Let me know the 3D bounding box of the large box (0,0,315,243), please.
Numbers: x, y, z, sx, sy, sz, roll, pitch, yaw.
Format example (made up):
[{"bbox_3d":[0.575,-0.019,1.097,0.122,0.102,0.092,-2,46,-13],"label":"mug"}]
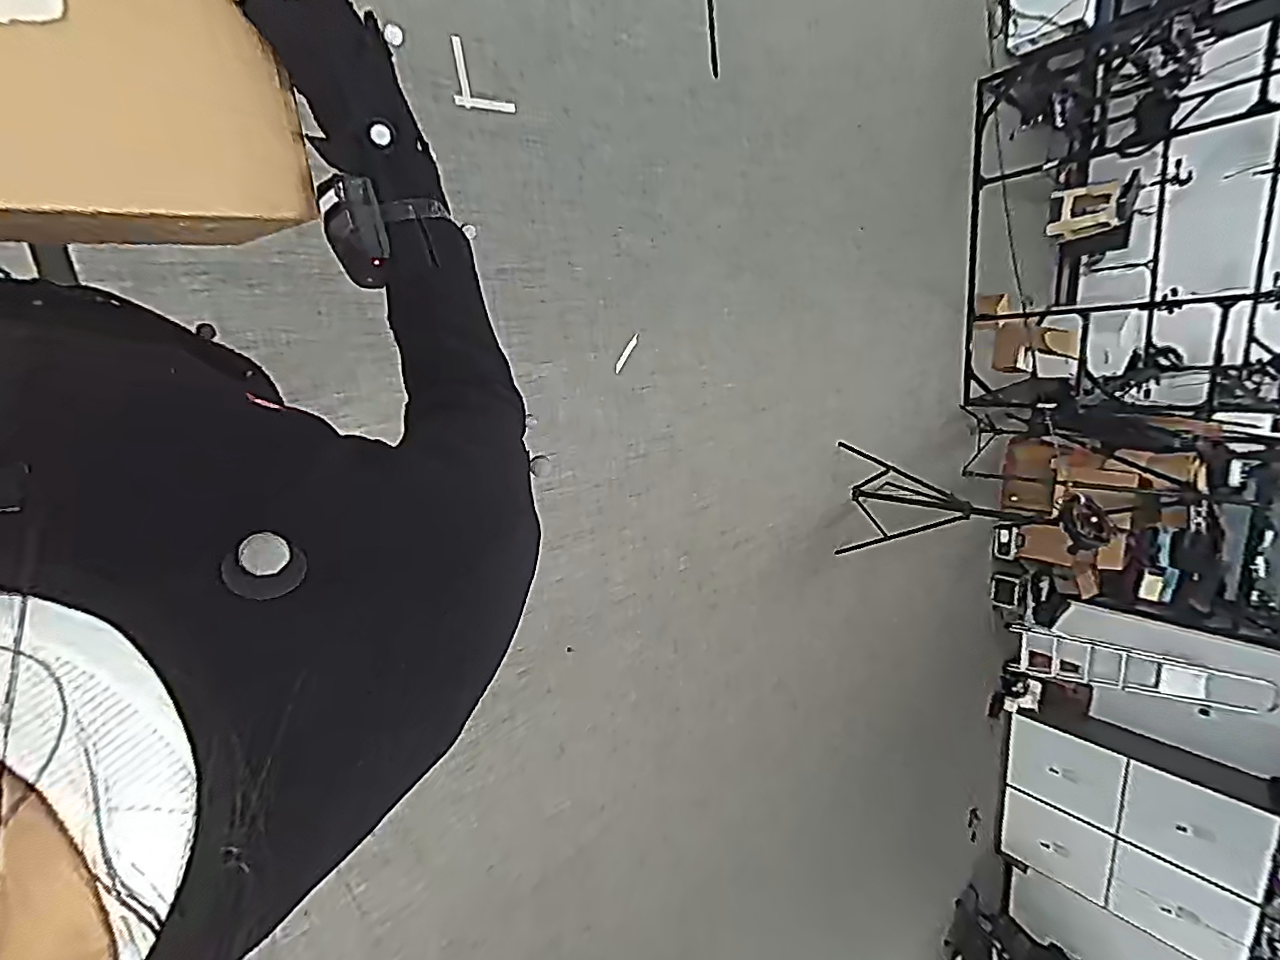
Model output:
[{"bbox_3d":[-0.499,-0.322,0.333,0.408,0.320,0.320,-21,119,-40],"label":"large box"}]
